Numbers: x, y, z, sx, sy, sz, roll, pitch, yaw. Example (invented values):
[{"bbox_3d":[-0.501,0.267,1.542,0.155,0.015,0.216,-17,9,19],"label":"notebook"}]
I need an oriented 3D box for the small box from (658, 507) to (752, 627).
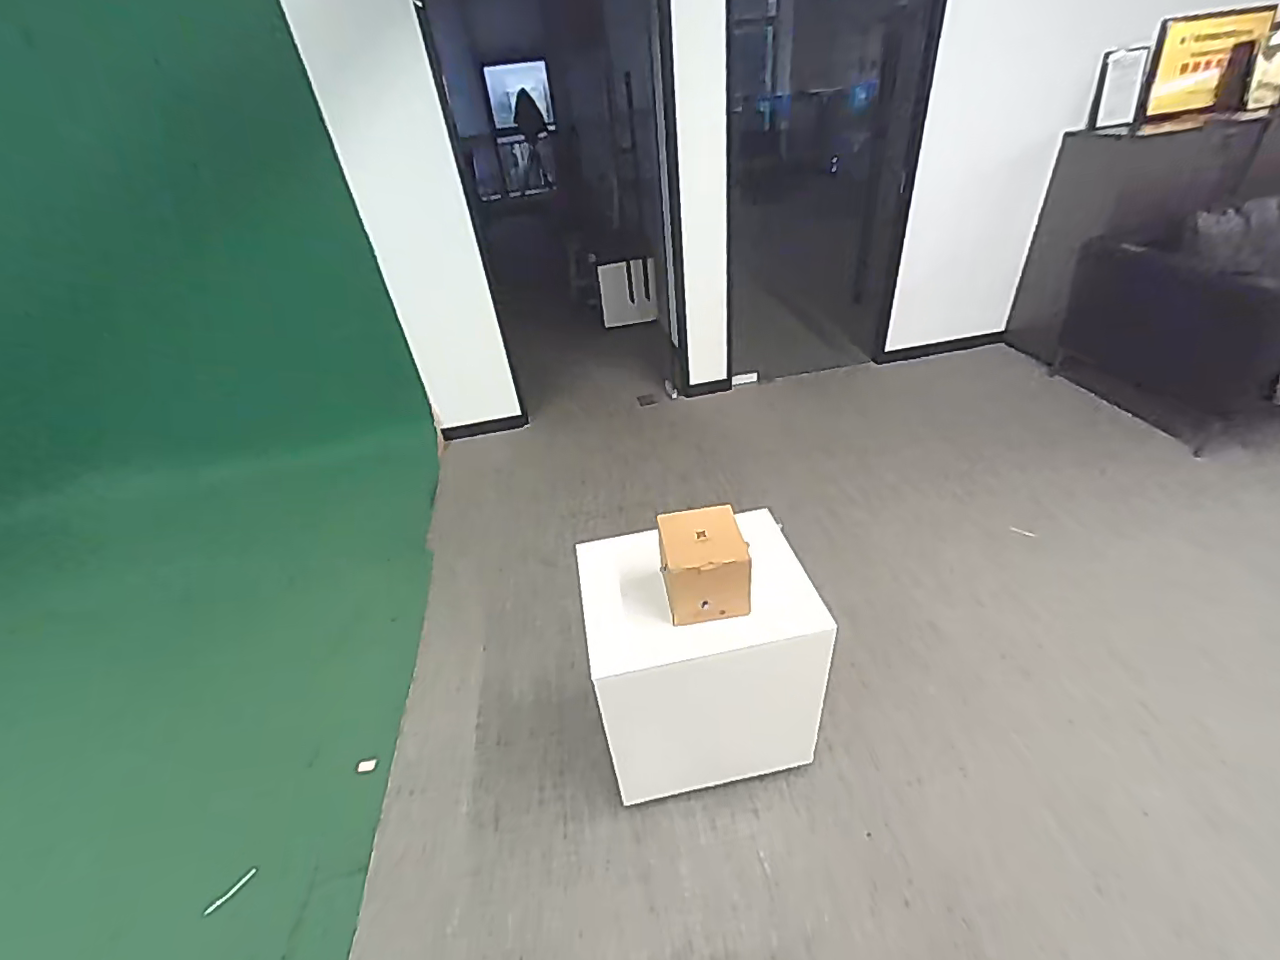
[{"bbox_3d":[0.133,0.184,1.151,0.168,0.176,0.179,-9,35,-3],"label":"small box"}]
